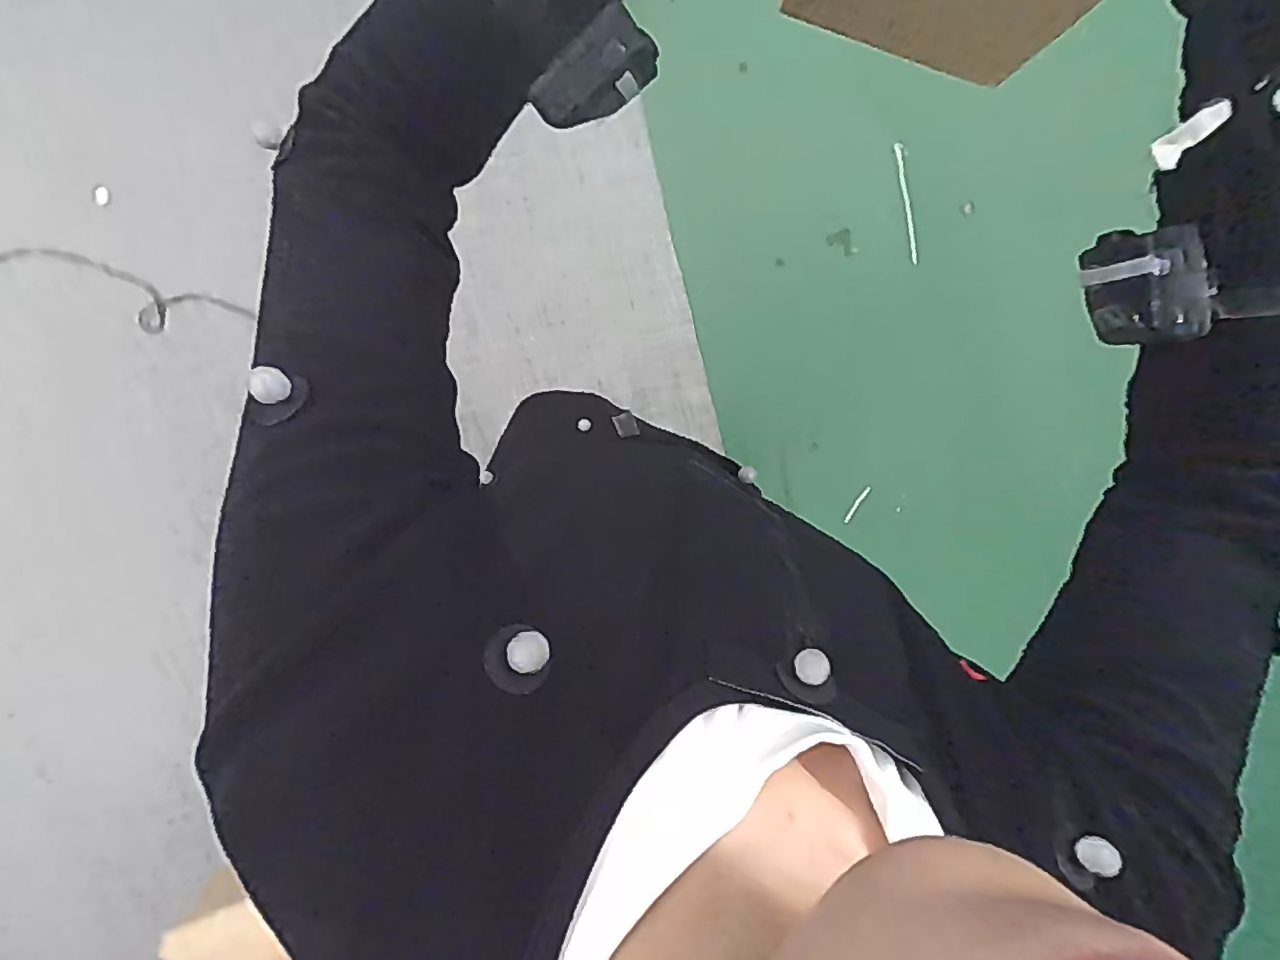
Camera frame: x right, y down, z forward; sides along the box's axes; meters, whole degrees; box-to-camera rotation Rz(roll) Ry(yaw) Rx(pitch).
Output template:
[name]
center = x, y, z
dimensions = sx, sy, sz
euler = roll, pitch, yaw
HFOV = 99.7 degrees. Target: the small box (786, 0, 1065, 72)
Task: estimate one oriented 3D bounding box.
[small box]
center = 0.202, -0.384, 0.309
dimensions = 0.179, 0.176, 0.168
euler = 15, 98, -5
